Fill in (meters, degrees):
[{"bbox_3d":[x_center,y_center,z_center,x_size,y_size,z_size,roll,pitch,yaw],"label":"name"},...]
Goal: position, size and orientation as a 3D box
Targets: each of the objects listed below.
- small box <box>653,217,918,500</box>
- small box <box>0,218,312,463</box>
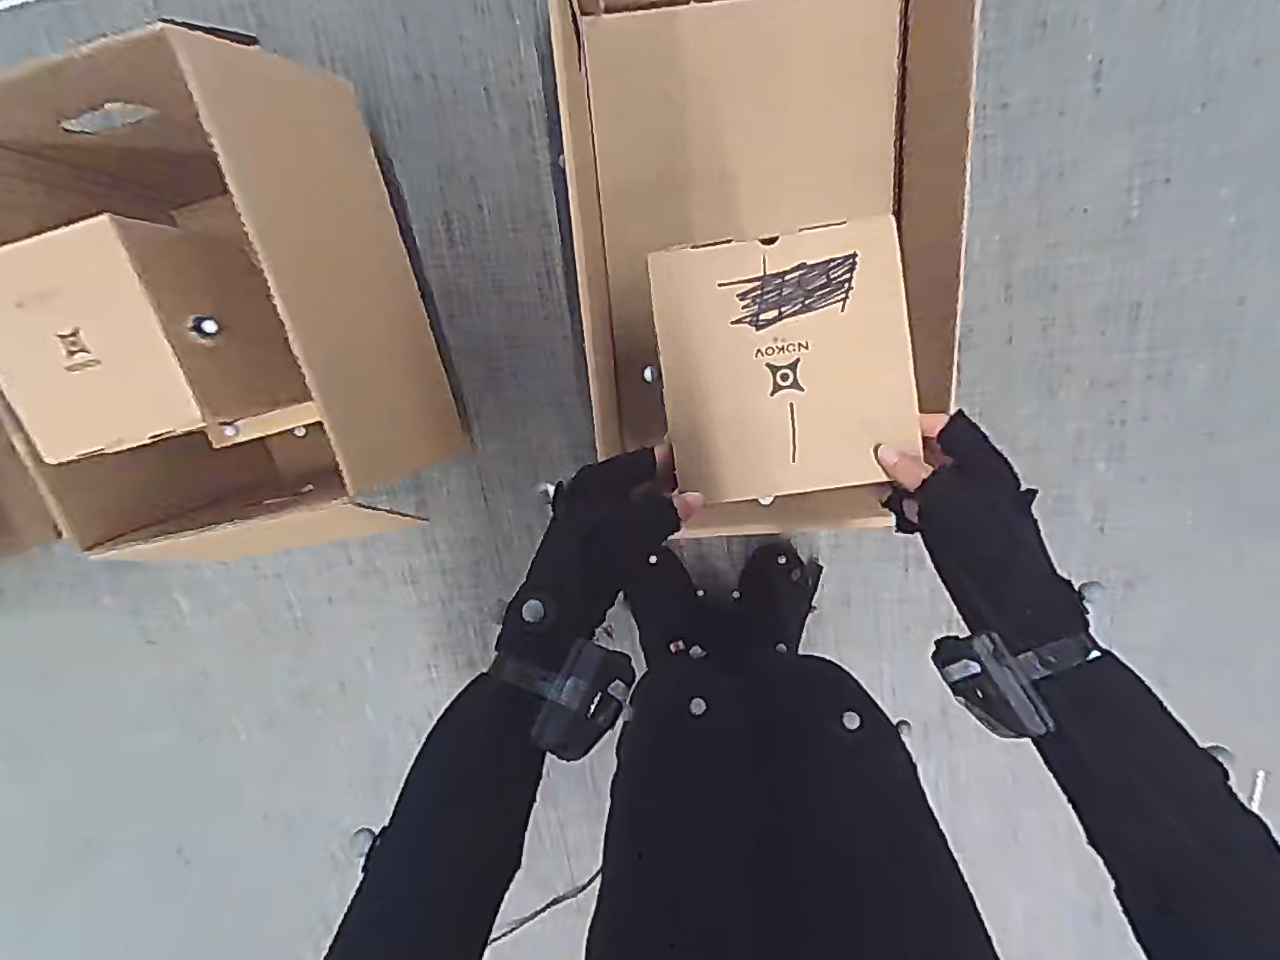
[{"bbox_3d":[0.101,-0.084,0.446,0.168,0.176,0.179,-8,93,4],"label":"small box"},{"bbox_3d":[-0.470,-0.134,0.534,0.168,0.176,0.179,-13,105,6],"label":"small box"}]
